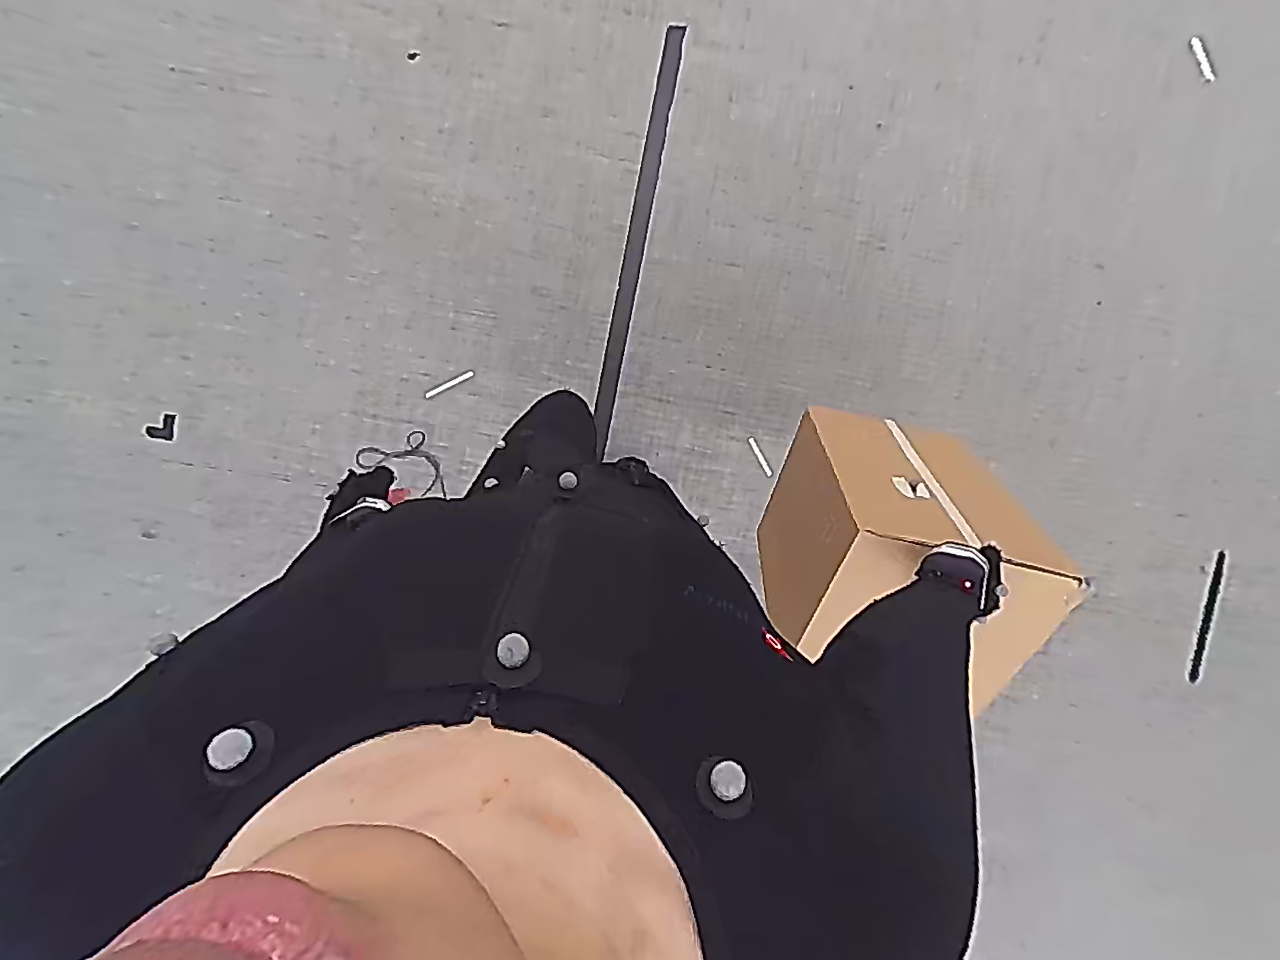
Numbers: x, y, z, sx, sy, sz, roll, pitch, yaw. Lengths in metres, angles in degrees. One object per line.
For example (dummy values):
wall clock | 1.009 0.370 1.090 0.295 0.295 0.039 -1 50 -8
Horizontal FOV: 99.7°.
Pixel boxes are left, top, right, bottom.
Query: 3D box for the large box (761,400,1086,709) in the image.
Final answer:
large box | 0.424 0.111 0.947 0.320 0.408 0.320 13 124 -1
